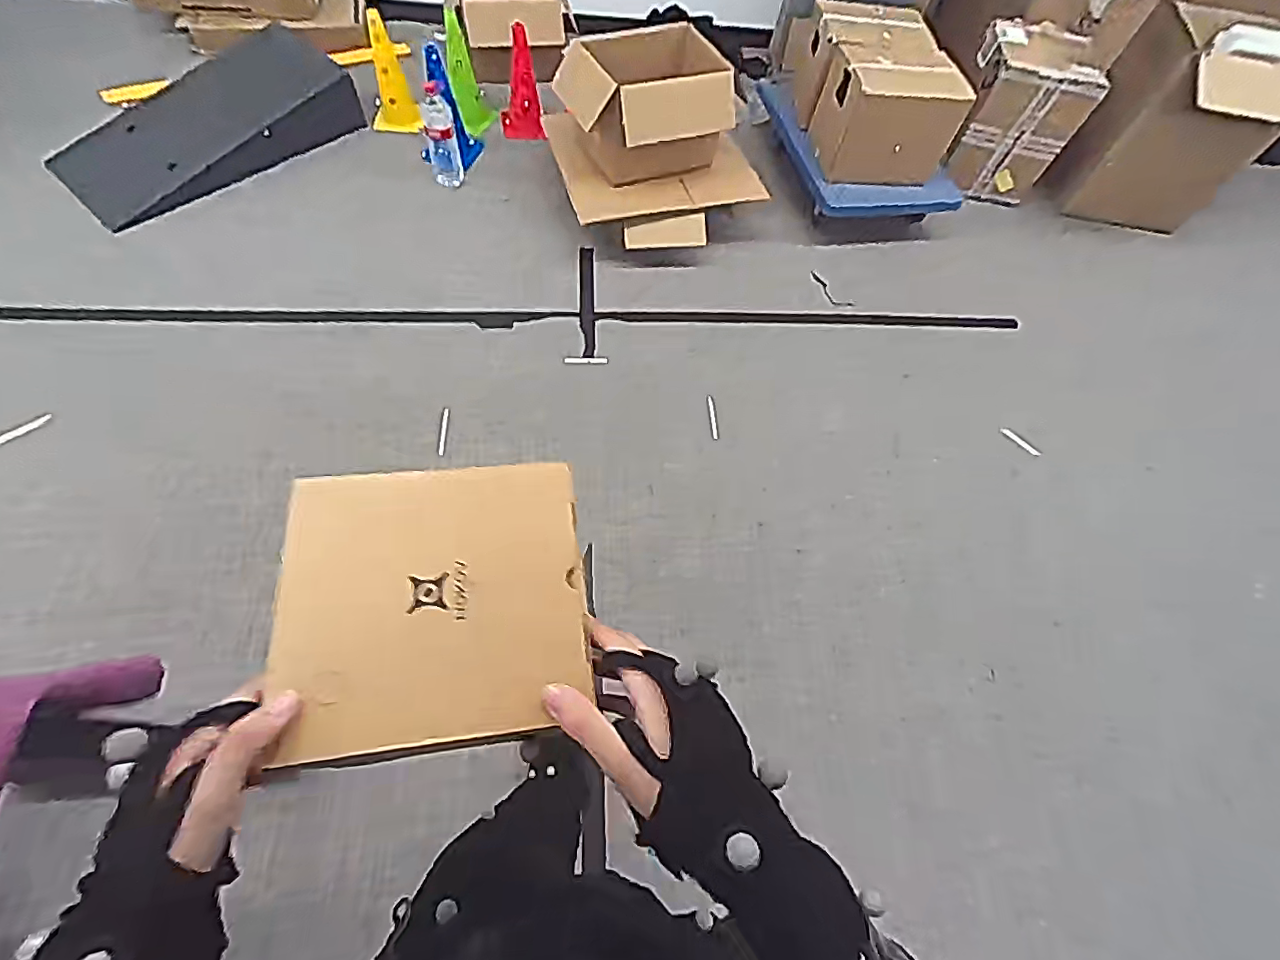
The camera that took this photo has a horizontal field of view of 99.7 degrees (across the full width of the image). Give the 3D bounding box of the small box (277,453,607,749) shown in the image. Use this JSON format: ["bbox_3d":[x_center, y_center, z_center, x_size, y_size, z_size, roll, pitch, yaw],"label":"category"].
[{"bbox_3d":[-0.122,0.096,0.397,0.179,0.176,0.168,-4,64,-10],"label":"small box"}]
